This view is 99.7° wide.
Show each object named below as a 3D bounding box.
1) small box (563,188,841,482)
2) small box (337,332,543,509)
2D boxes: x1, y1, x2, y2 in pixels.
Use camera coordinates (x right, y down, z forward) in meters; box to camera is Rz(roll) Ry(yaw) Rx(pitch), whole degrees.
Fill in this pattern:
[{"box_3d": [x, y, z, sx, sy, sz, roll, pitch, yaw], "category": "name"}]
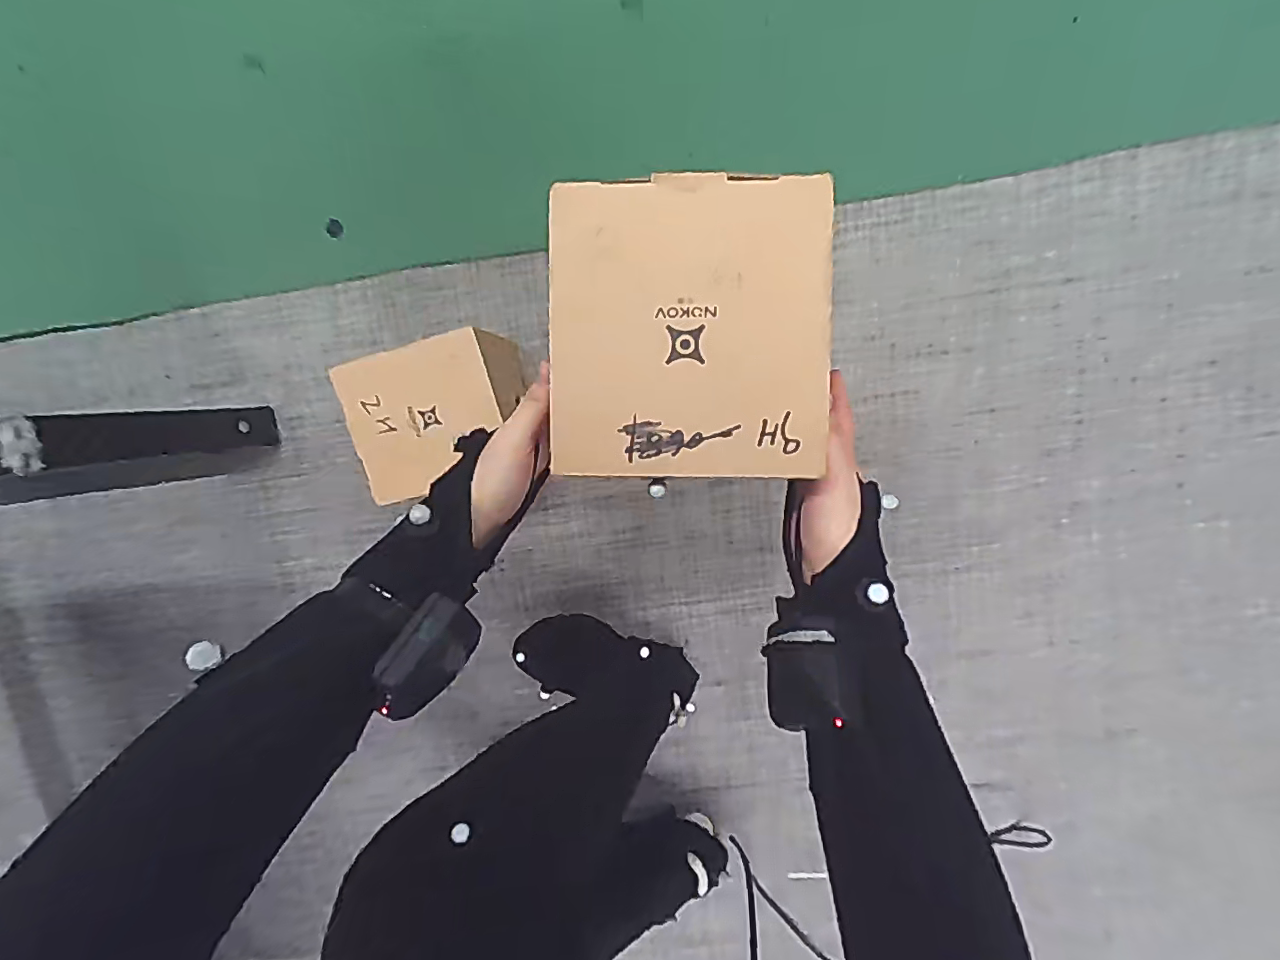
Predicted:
[{"box_3d": [0.041, -0.089, 0.405, 0.168, 0.176, 0.179, 1, 92, 4], "category": "small box"}, {"box_3d": [-0.232, -0.077, 0.685, 0.179, 0.176, 0.168, -15, 97, 5], "category": "small box"}]
